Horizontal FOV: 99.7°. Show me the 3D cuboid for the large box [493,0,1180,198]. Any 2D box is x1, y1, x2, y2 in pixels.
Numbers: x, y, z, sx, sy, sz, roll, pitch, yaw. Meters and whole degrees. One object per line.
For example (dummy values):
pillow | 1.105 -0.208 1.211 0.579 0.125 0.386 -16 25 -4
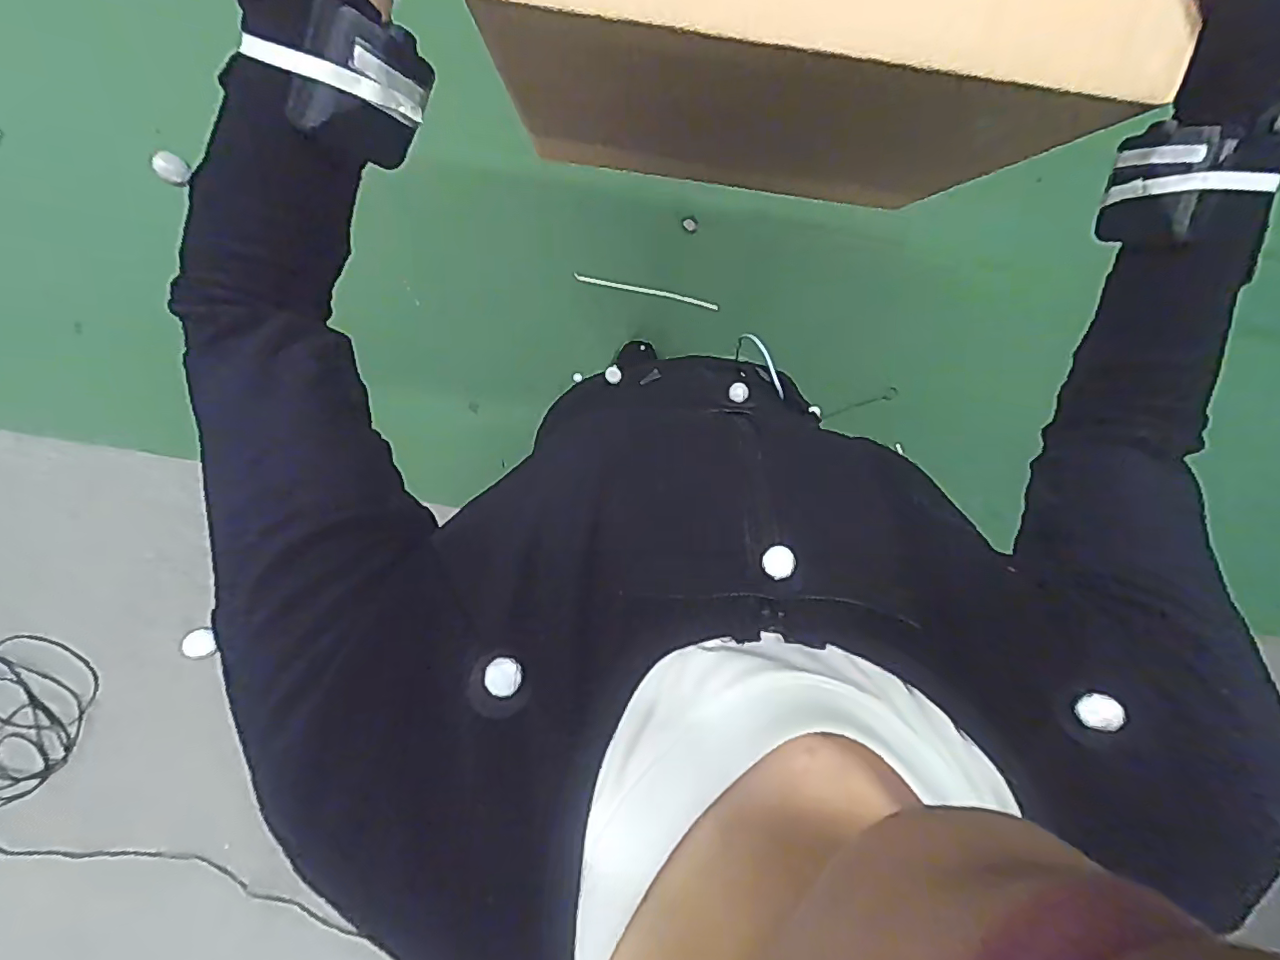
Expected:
large box | 0.114 -0.434 0.409 0.408 0.320 0.320 5 107 -5
